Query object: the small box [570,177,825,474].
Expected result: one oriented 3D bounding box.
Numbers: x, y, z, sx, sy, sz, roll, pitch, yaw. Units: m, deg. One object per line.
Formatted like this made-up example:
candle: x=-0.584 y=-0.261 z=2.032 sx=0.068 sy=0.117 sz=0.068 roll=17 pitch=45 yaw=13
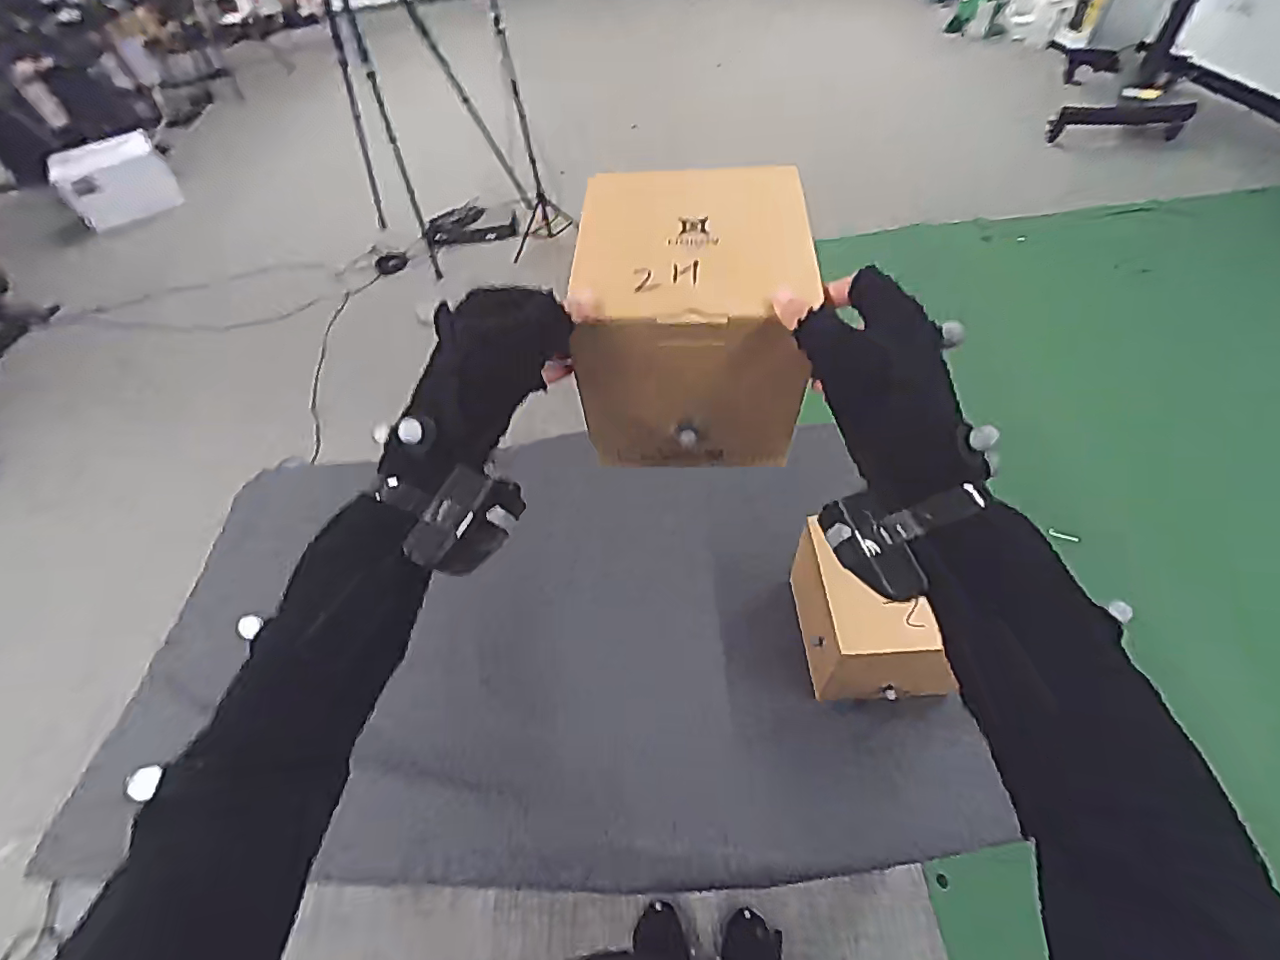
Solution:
small box: x=0.045 y=-0.125 z=0.454 sx=0.168 sy=0.176 sz=0.179 roll=1 pitch=58 yaw=5
